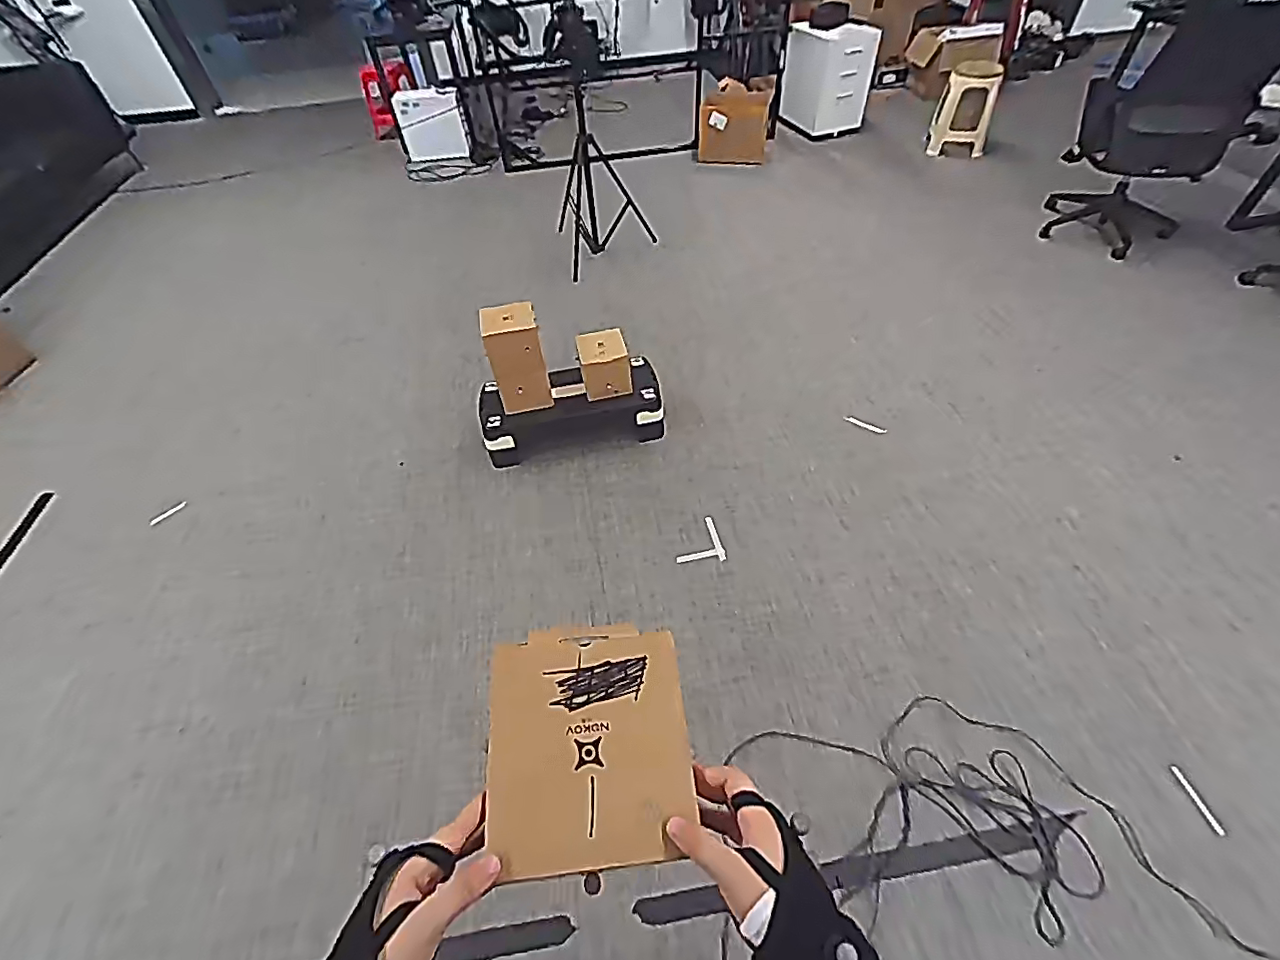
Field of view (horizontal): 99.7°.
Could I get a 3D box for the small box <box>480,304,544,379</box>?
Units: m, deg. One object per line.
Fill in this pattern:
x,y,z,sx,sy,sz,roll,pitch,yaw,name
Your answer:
-0.425,-0.462,1.814,0.179,0.176,0.168,-13,49,-7,small box

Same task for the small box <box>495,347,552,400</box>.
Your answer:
-0.416,-0.357,1.939,0.179,0.176,0.168,-13,50,-6,small box

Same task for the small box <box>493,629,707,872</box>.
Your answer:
-0.041,0.262,0.520,0.168,0.176,0.179,-4,55,-6,small box

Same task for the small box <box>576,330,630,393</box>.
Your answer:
-0.133,-0.415,1.965,0.168,0.176,0.179,-13,50,-5,small box
